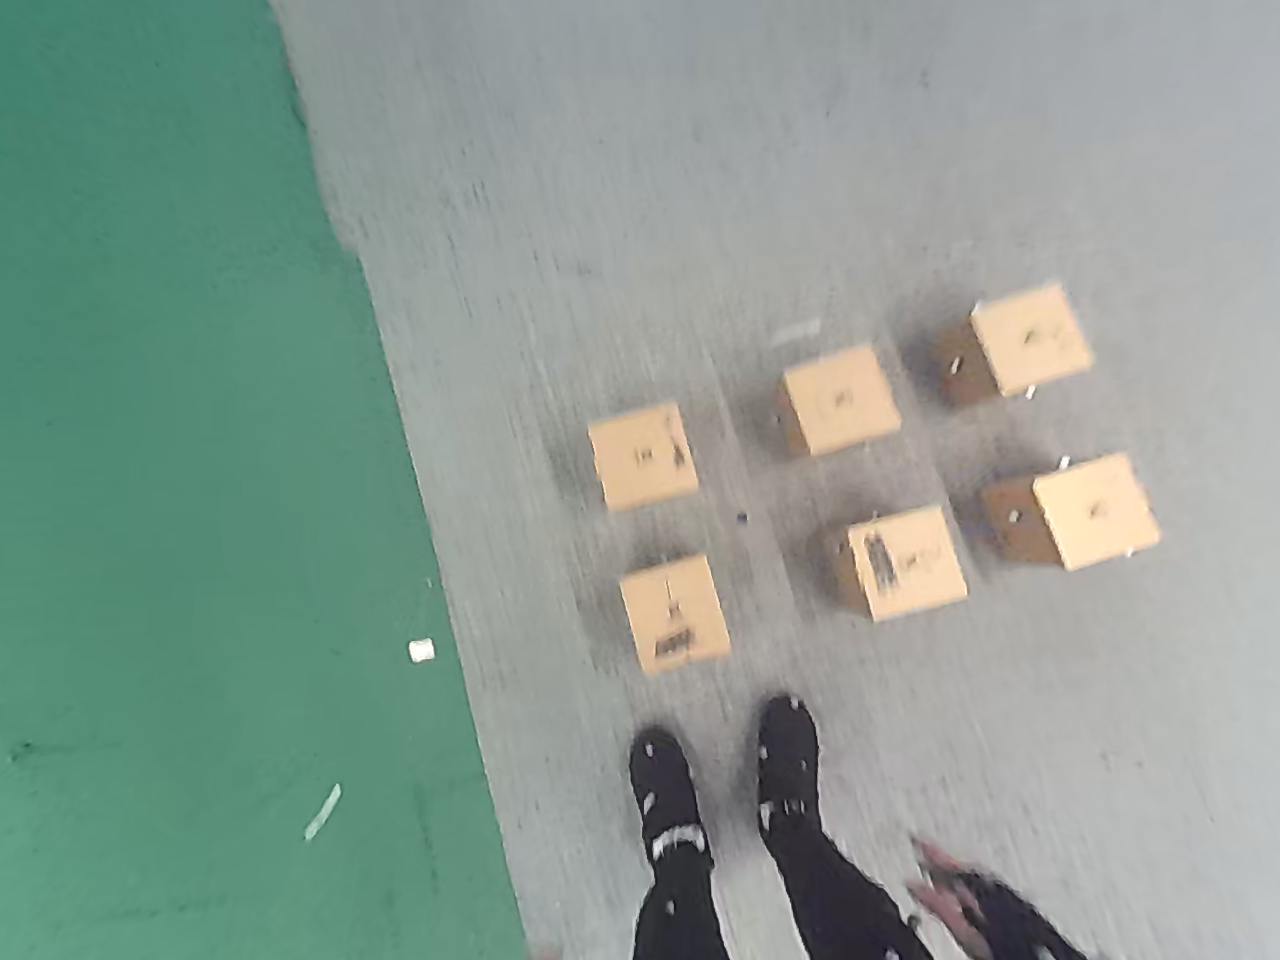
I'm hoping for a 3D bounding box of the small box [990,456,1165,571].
[{"bbox_3d":[0.808,0.070,1.025,0.179,0.176,0.168,-18,82,0],"label":"small box"}]

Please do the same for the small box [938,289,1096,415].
[{"bbox_3d":[0.721,-0.242,1.063,0.179,0.176,0.168,-18,83,0],"label":"small box"}]

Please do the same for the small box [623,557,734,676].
[{"bbox_3d":[0.072,0.252,1.034,0.168,0.176,0.179,-15,82,0],"label":"small box"}]

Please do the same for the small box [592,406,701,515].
[{"bbox_3d":[0.016,-0.030,1.072,0.179,0.176,0.168,-14,83,2],"label":"small box"}]

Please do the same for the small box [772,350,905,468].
[{"bbox_3d":[0.380,-0.133,1.068,0.179,0.176,0.168,-17,82,1],"label":"small box"}]
